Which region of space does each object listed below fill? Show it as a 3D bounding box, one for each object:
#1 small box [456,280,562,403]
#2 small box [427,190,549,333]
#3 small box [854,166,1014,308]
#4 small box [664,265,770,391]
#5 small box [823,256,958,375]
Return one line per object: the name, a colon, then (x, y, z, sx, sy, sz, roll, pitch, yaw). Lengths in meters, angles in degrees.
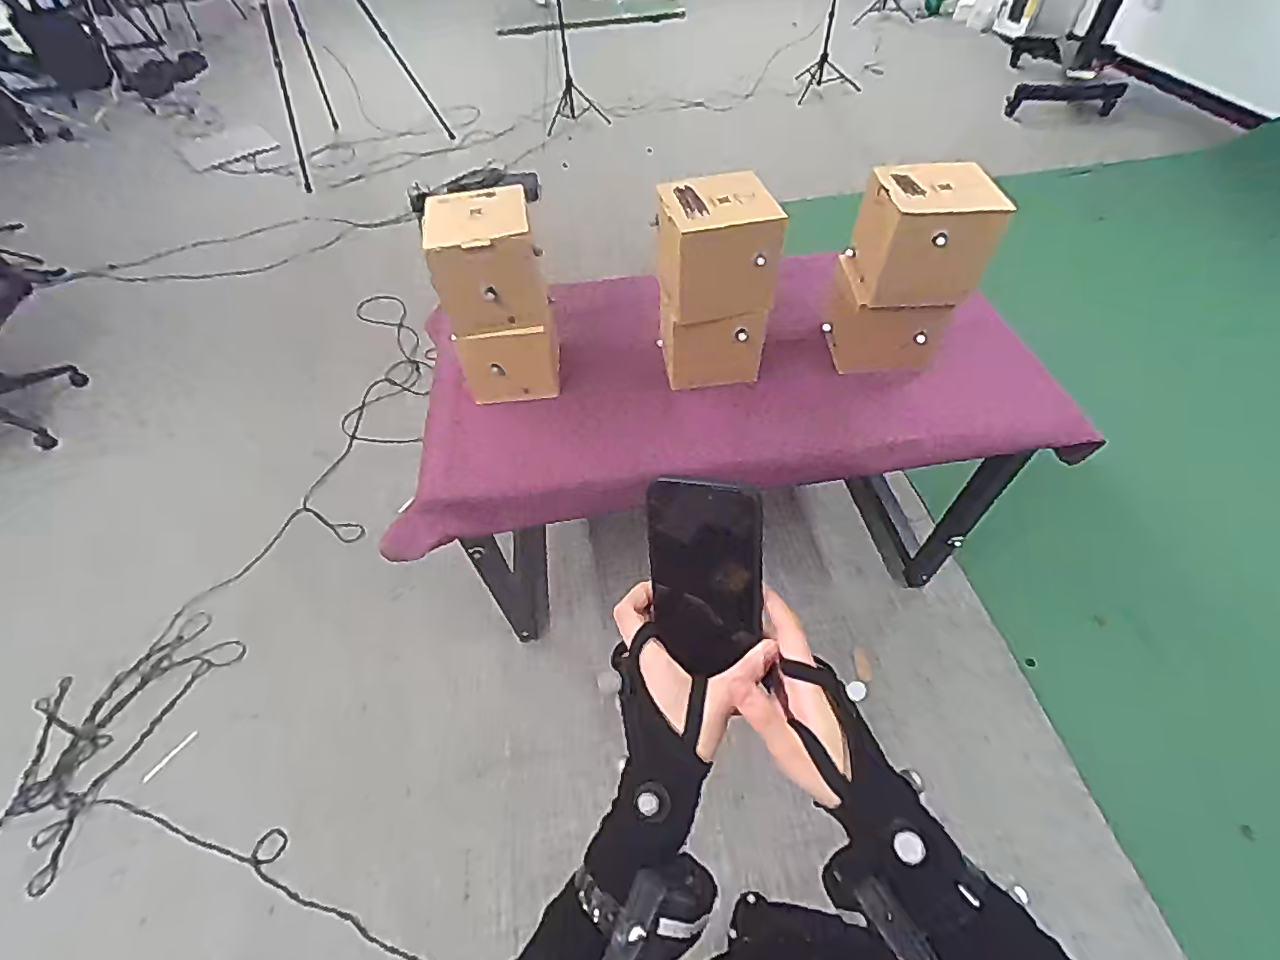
small box: (-0.249, -0.267, 1.070, 0.168, 0.176, 0.179, -6, 52, -1)
small box: (-0.258, -0.373, 0.945, 0.168, 0.176, 0.179, -10, 53, -5)
small box: (0.482, -0.411, 0.927, 0.179, 0.176, 0.168, -2, 52, 2)
small box: (0.141, -0.296, 1.065, 0.179, 0.176, 0.168, -7, 52, -1)
small box: (0.480, -0.323, 1.066, 0.179, 0.176, 0.168, -2, 52, 3)
